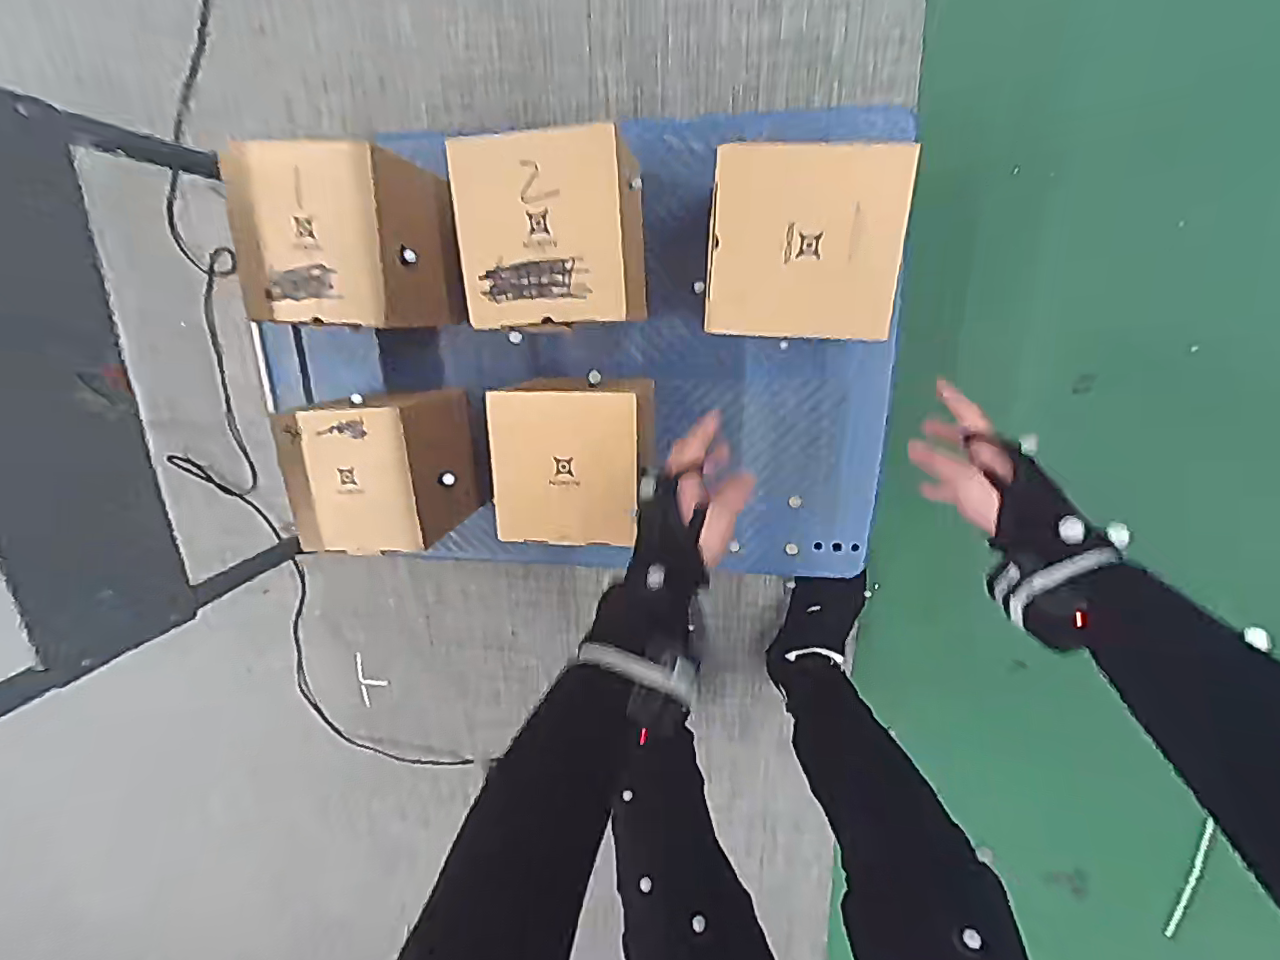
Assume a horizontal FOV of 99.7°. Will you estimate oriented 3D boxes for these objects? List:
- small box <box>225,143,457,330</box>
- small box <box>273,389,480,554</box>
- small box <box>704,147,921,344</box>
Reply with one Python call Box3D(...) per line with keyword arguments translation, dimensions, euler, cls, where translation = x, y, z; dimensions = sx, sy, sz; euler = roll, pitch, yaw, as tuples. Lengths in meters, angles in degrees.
Box3D(translation=(-0.328, -0.271, 0.632), dimensions=(0.168, 0.176, 0.179), euler=(4, 106, 6), cls="small box")
Box3D(translation=(-0.325, -0.019, 0.706), dimensions=(0.168, 0.176, 0.179), euler=(0, 107, 8), cls="small box")
Box3D(translation=(0.165, -0.237, 0.575), dimensions=(0.179, 0.176, 0.168), euler=(5, 108, 7), cls="small box")
